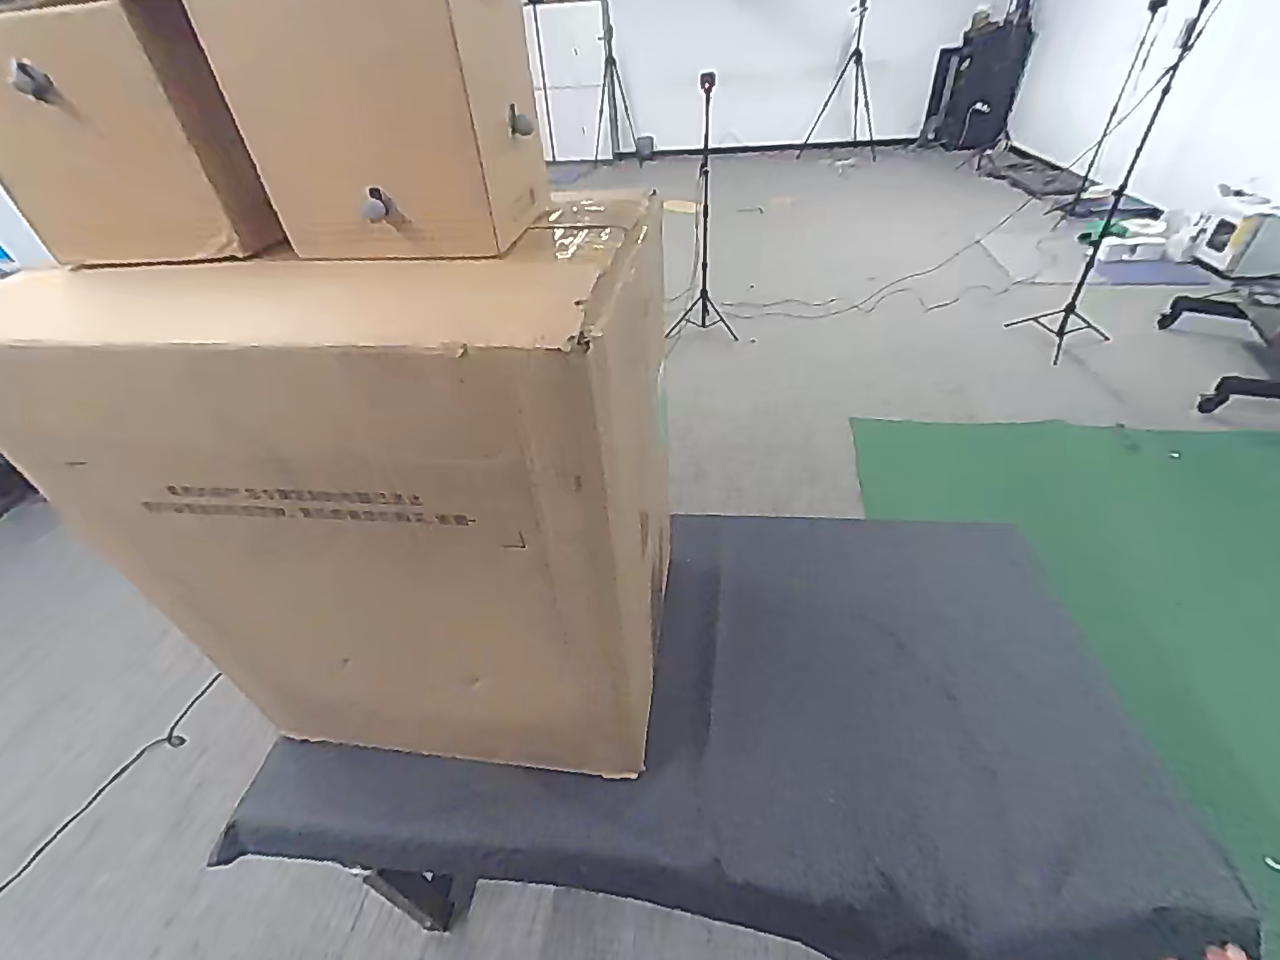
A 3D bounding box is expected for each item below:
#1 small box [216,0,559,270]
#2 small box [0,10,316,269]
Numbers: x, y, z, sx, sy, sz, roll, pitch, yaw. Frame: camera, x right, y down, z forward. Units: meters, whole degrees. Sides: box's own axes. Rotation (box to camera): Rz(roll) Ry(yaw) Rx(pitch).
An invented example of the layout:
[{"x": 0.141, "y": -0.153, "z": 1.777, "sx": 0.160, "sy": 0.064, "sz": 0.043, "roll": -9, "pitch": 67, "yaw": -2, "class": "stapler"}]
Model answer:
[{"x": -0.175, "y": -0.284, "z": 0.448, "sx": 0.179, "sy": 0.176, "sz": 0.168, "roll": 2, "pitch": 39, "yaw": 8, "class": "small box"}, {"x": -0.395, "y": -0.294, "z": 0.476, "sx": 0.179, "sy": 0.176, "sz": 0.168, "roll": 1, "pitch": 40, "yaw": 5, "class": "small box"}]
